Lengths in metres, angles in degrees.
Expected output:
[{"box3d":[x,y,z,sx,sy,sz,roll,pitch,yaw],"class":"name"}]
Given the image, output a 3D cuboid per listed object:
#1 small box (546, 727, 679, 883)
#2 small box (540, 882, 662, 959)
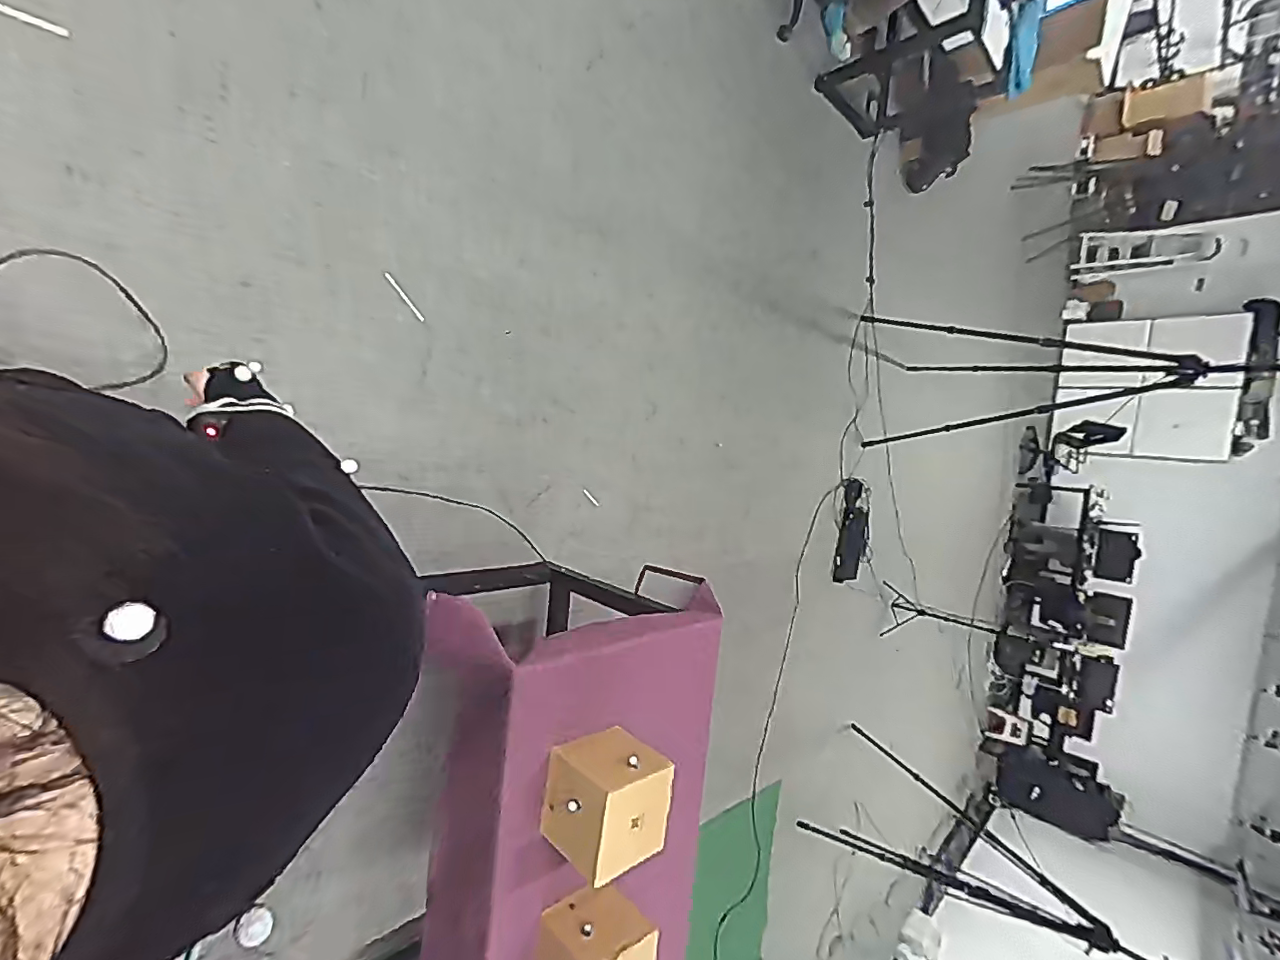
[{"box3d":[-0.054,0.594,1.016,0.179,0.176,0.168,7,92,-46],"class":"small box"},{"box3d":[-0.081,0.926,1.044,0.168,0.176,0.179,5,94,-44],"class":"small box"}]
